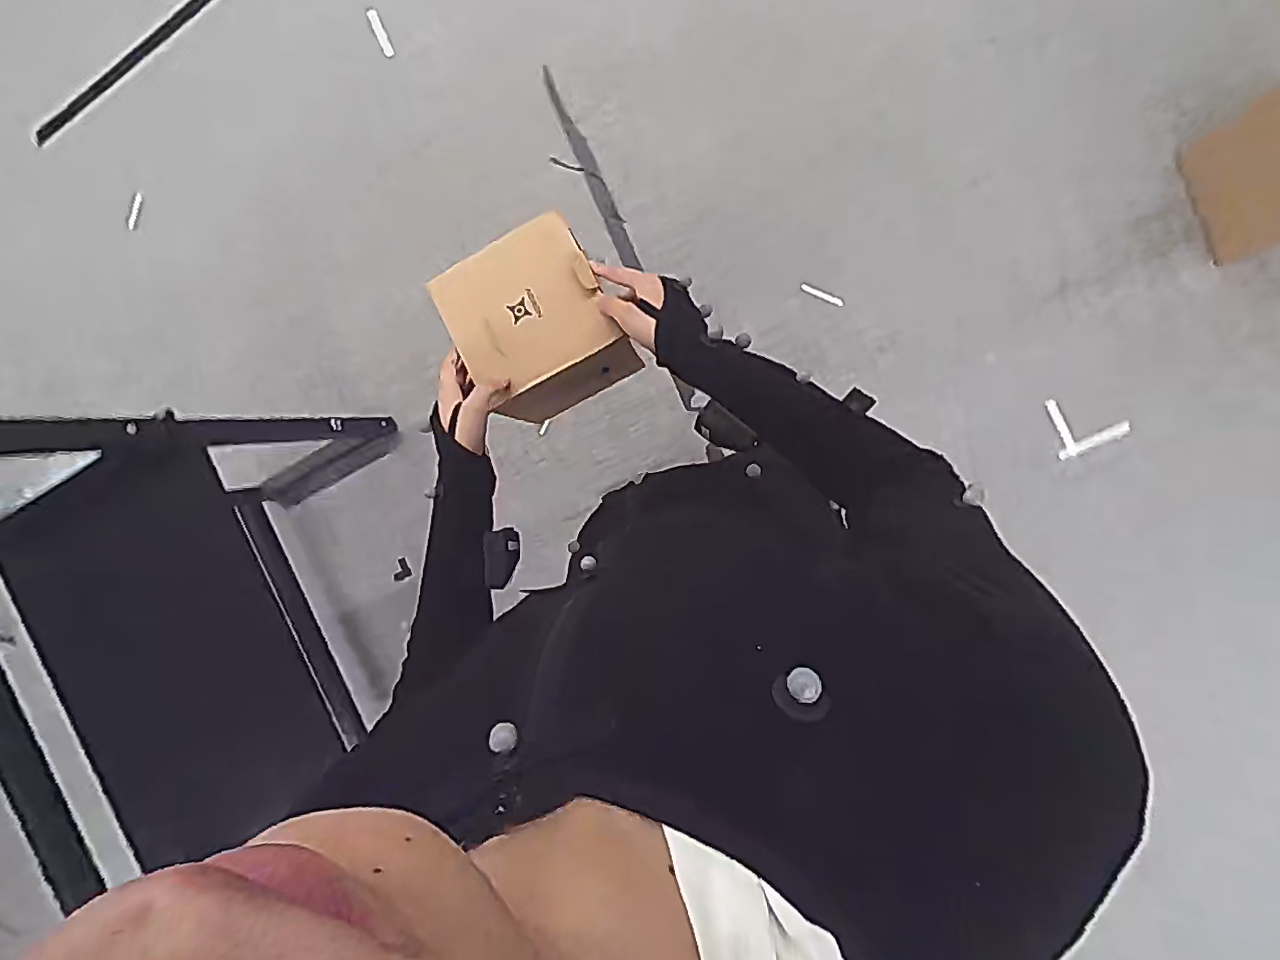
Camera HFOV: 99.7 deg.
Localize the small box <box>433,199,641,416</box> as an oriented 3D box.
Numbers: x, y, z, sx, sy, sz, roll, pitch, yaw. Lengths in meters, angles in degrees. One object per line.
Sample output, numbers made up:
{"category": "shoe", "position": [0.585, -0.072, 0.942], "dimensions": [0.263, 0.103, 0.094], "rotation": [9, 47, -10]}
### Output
{"category": "small box", "position": [-0.108, -0.192, 0.658], "dimensions": [0.179, 0.176, 0.168], "rotation": [-26, 86, 8]}
